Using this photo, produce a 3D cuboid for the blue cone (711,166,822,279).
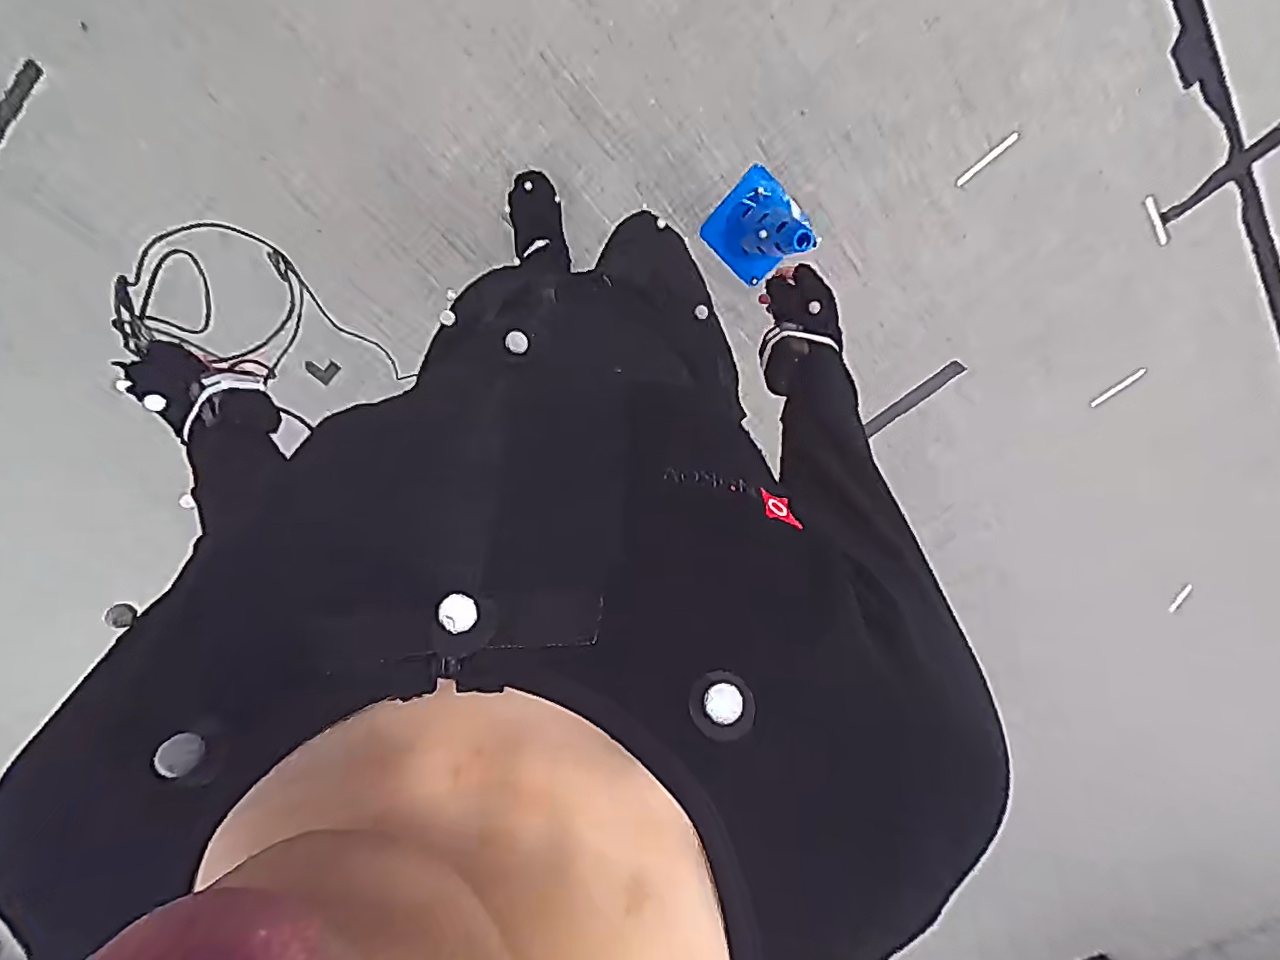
[{"bbox_3d":[0.290,-0.522,1.122,0.192,0.380,0.193,38,110,-22],"label":"blue cone"}]
